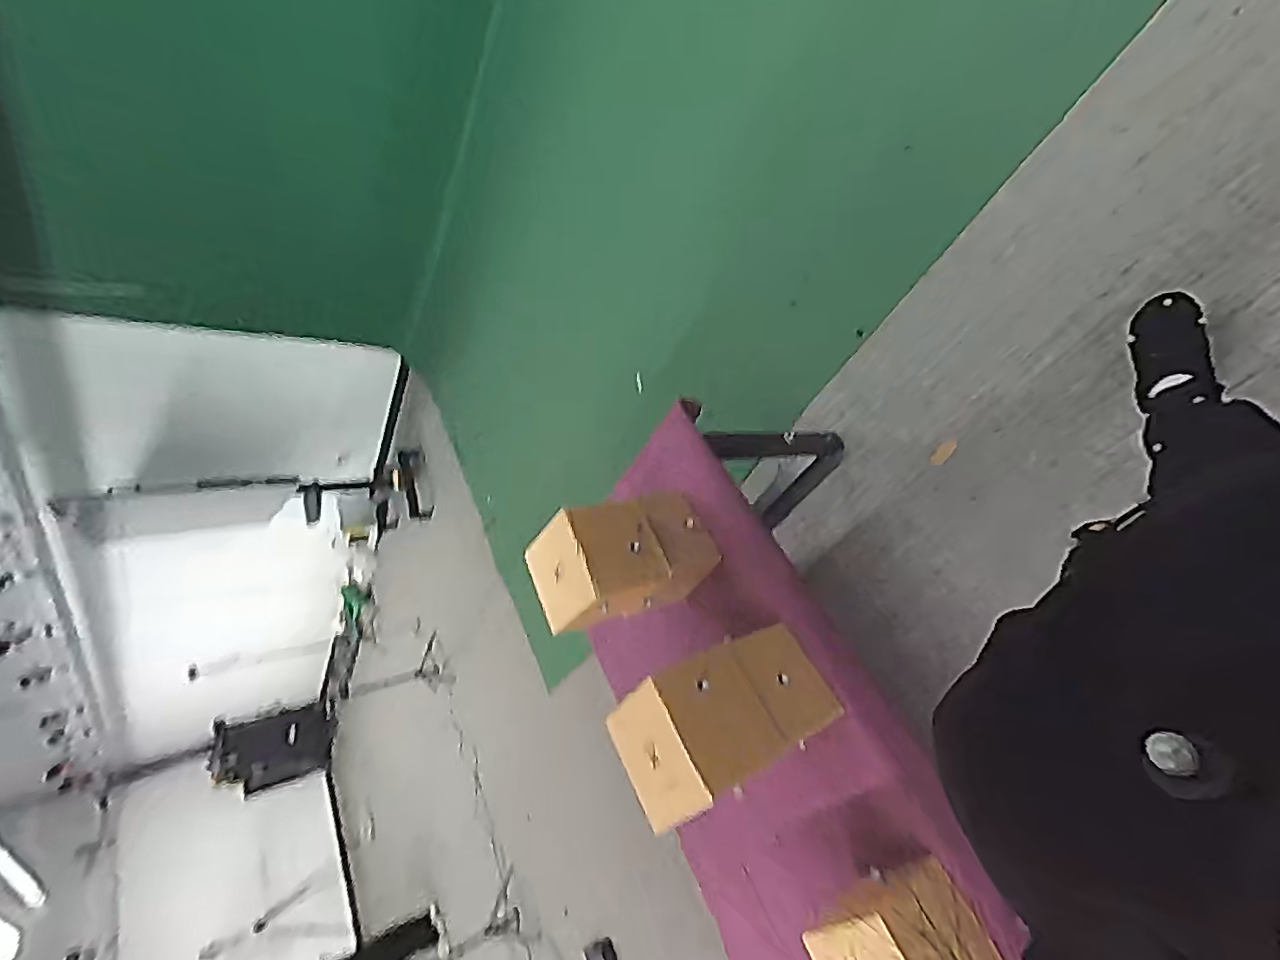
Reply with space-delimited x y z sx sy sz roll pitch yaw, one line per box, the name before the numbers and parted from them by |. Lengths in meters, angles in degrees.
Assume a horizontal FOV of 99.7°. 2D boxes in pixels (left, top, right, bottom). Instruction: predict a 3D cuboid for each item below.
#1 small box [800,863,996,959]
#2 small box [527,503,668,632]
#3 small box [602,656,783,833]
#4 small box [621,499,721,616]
small box | 0.367 0.675 0.740 0.168 0.176 0.179 -57 51 36
small box | -0.080 0.156 0.990 0.179 0.176 0.168 -47 59 41
small box | 0.077 0.386 0.816 0.179 0.176 0.168 59 134 28
small box | 0.031 0.151 1.114 0.179 0.176 0.168 58 134 28
